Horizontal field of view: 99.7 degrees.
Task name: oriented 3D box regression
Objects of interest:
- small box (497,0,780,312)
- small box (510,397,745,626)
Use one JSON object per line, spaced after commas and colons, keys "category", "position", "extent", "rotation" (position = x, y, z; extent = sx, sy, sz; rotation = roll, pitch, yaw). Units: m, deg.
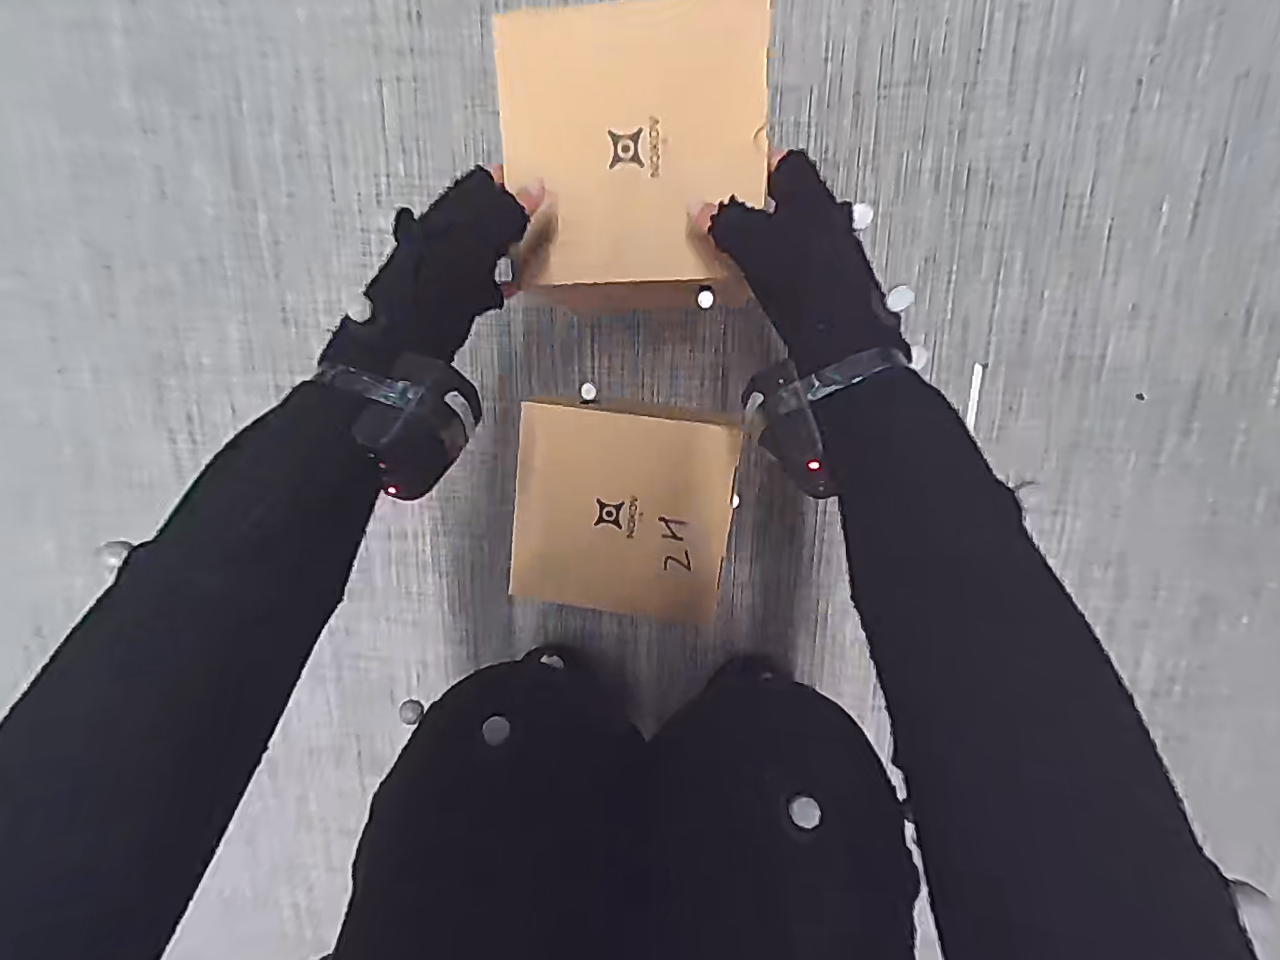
{"category": "small box", "position": [0.004, -0.225, 0.421], "extent": [0.179, 0.176, 0.168], "rotation": [0, 102, 4]}
{"category": "small box", "position": [-0.006, 0.014, 0.510], "extent": [0.179, 0.176, 0.168], "rotation": [8, 102, 5]}
